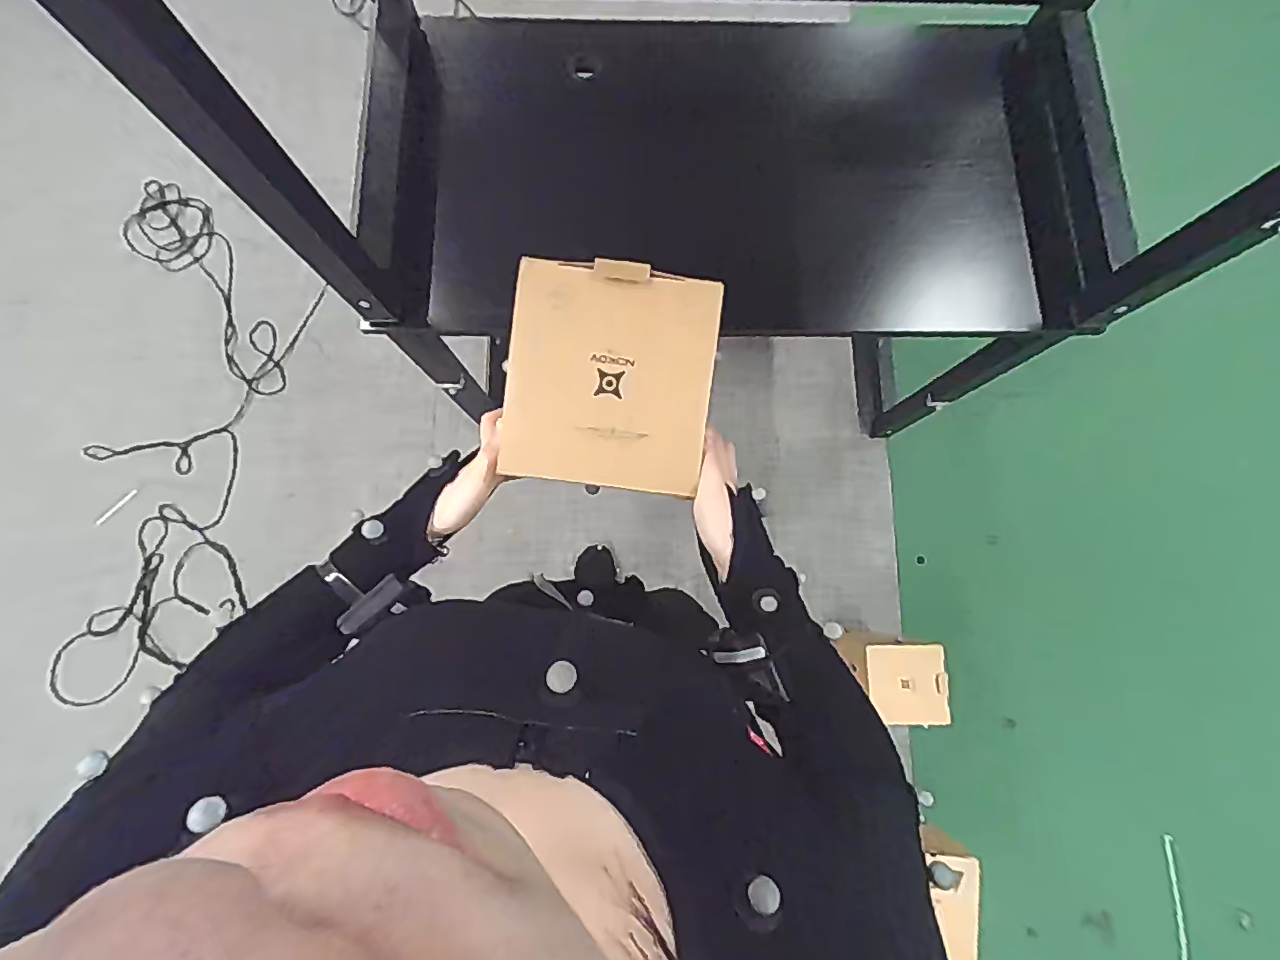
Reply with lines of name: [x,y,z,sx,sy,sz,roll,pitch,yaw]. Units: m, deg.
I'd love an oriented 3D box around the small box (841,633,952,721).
small box: [0.572,0.444,1.232,0.179,0.176,0.168,0,80,-2]
